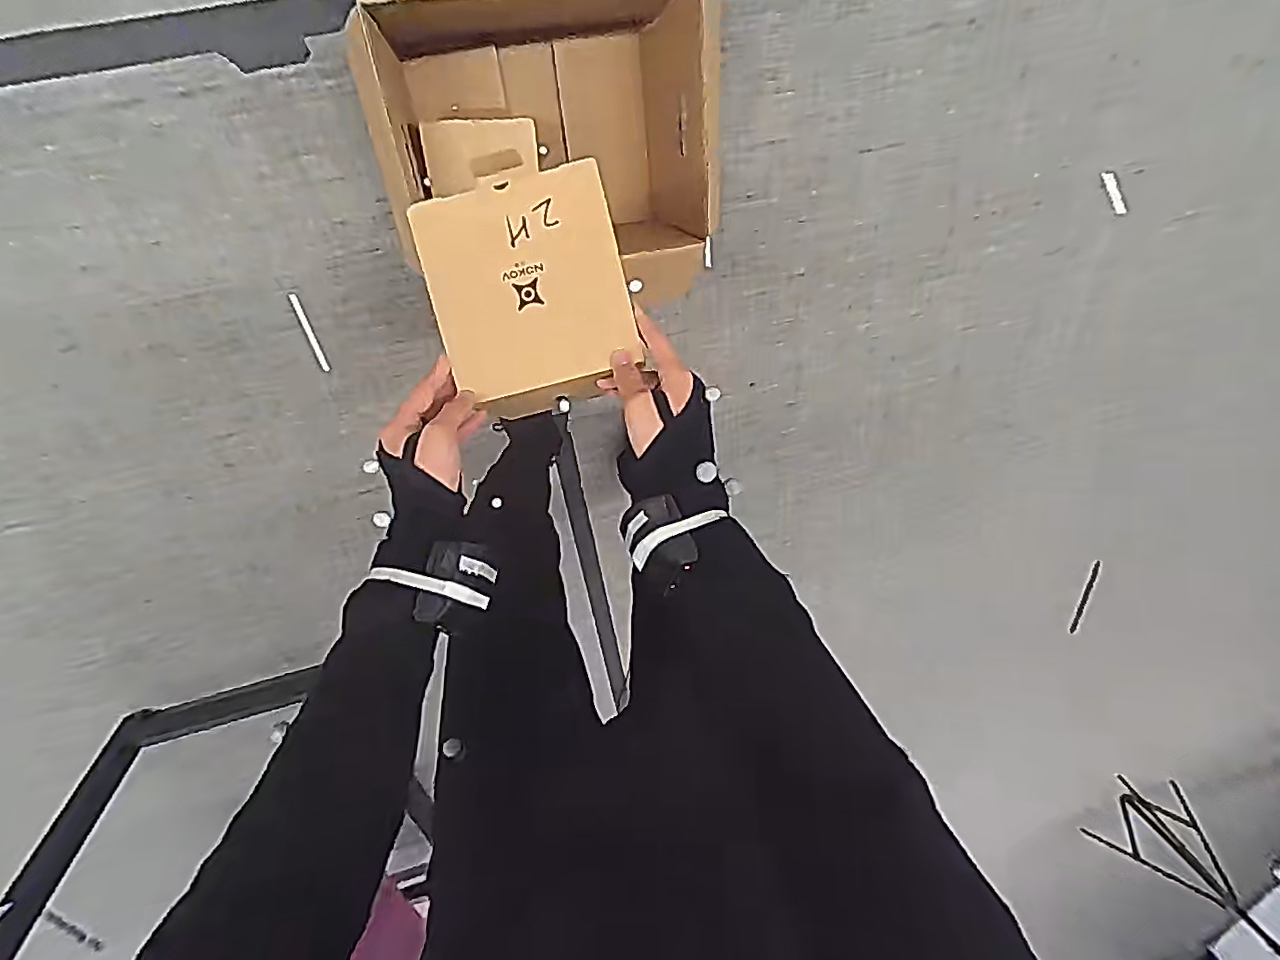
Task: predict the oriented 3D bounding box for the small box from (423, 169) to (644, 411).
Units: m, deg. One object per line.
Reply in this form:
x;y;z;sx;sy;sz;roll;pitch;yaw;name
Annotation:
-0.091;-0.171;0.550;0.168;0.176;0.179;-13;92;0;small box
